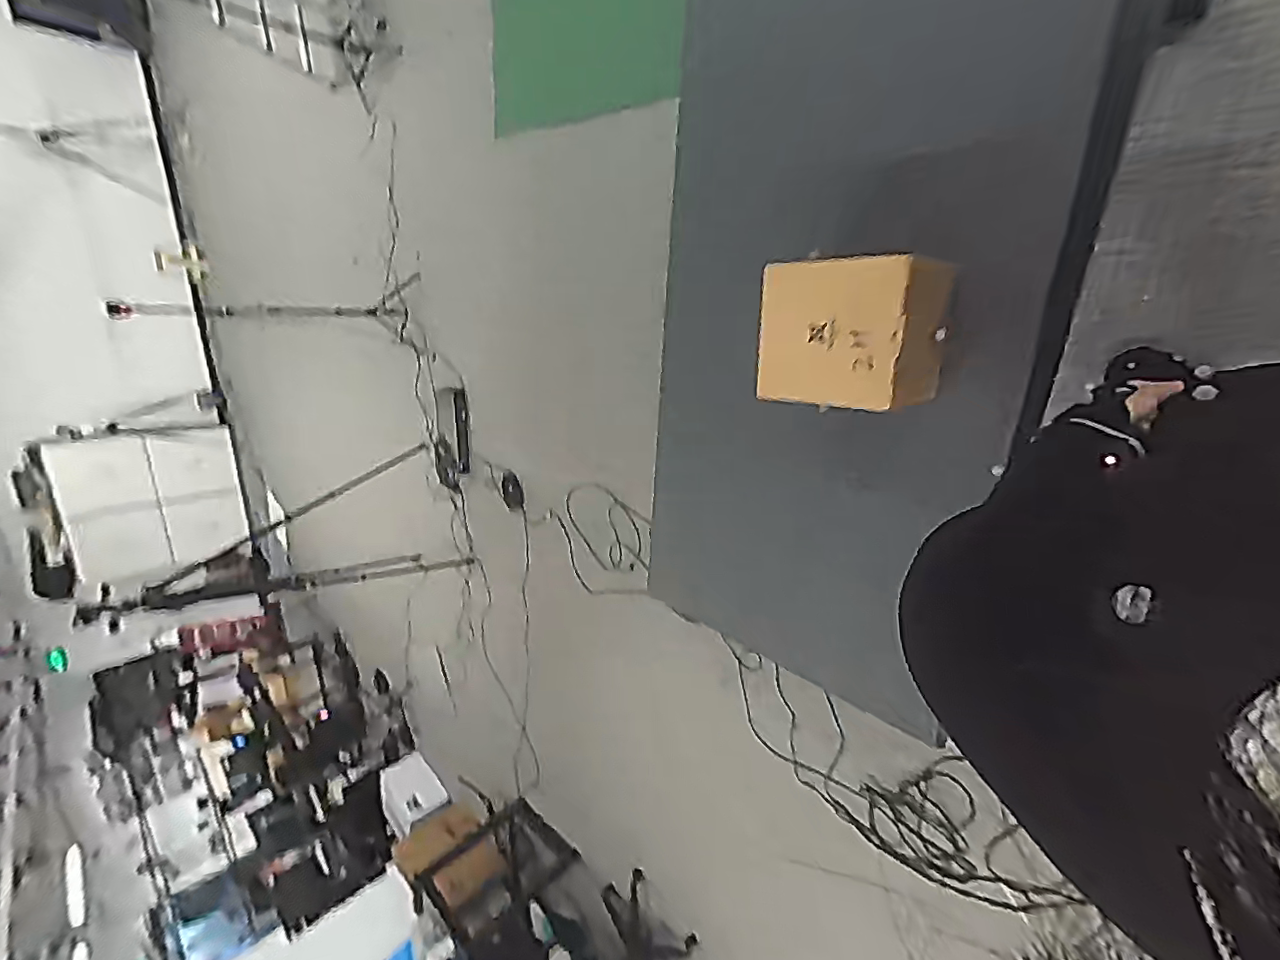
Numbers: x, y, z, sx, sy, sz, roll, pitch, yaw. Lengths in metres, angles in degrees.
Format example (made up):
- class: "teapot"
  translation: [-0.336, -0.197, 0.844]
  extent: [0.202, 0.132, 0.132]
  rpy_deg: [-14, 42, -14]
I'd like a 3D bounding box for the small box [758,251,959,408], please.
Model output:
- class: "small box"
  translation: [0.273, -0.188, 0.685]
  extent: [0.179, 0.176, 0.168]
  rpy_deg: [14, 112, 42]
